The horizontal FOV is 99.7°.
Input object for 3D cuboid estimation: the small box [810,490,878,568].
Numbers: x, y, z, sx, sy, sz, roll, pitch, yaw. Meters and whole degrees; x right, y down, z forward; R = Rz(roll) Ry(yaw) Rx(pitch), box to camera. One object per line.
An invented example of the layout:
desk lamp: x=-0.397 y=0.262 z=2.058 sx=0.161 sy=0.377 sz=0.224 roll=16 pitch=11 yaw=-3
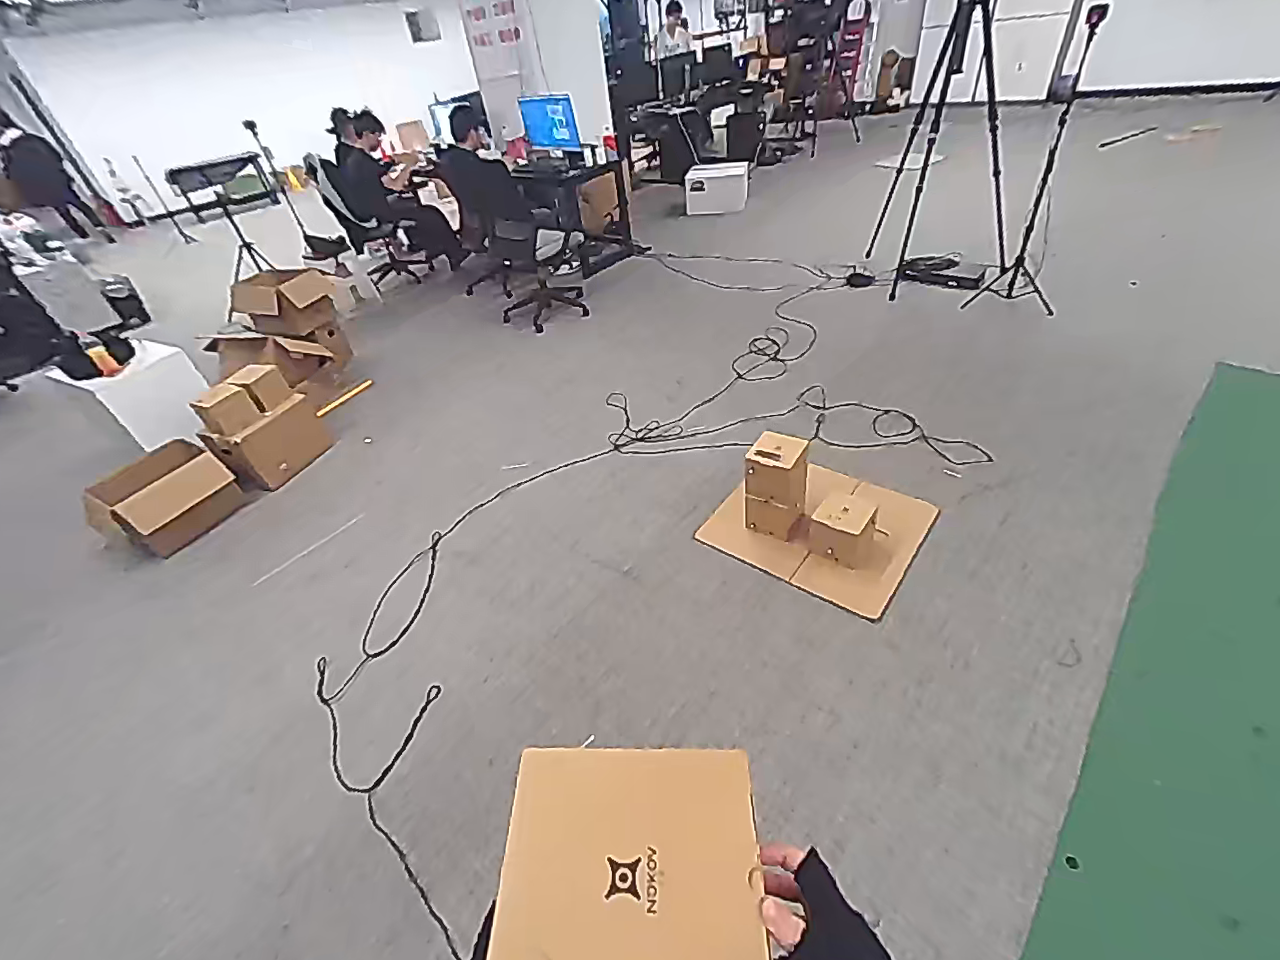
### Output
small box: x=0.699 y=0.169 z=1.869 sx=0.168 sy=0.176 sz=0.179 roll=22 pitch=49 yaw=34

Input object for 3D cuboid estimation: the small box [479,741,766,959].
small box: x=-0.006 y=0.317 z=0.411 sx=0.179 sy=0.176 sz=0.168 roll=0 pitch=43 yaw=2

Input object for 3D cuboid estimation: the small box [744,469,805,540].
small box: x=0.500 y=0.092 z=2.001 sx=0.168 sy=0.176 sz=0.179 roll=19 pitch=47 yaw=31
